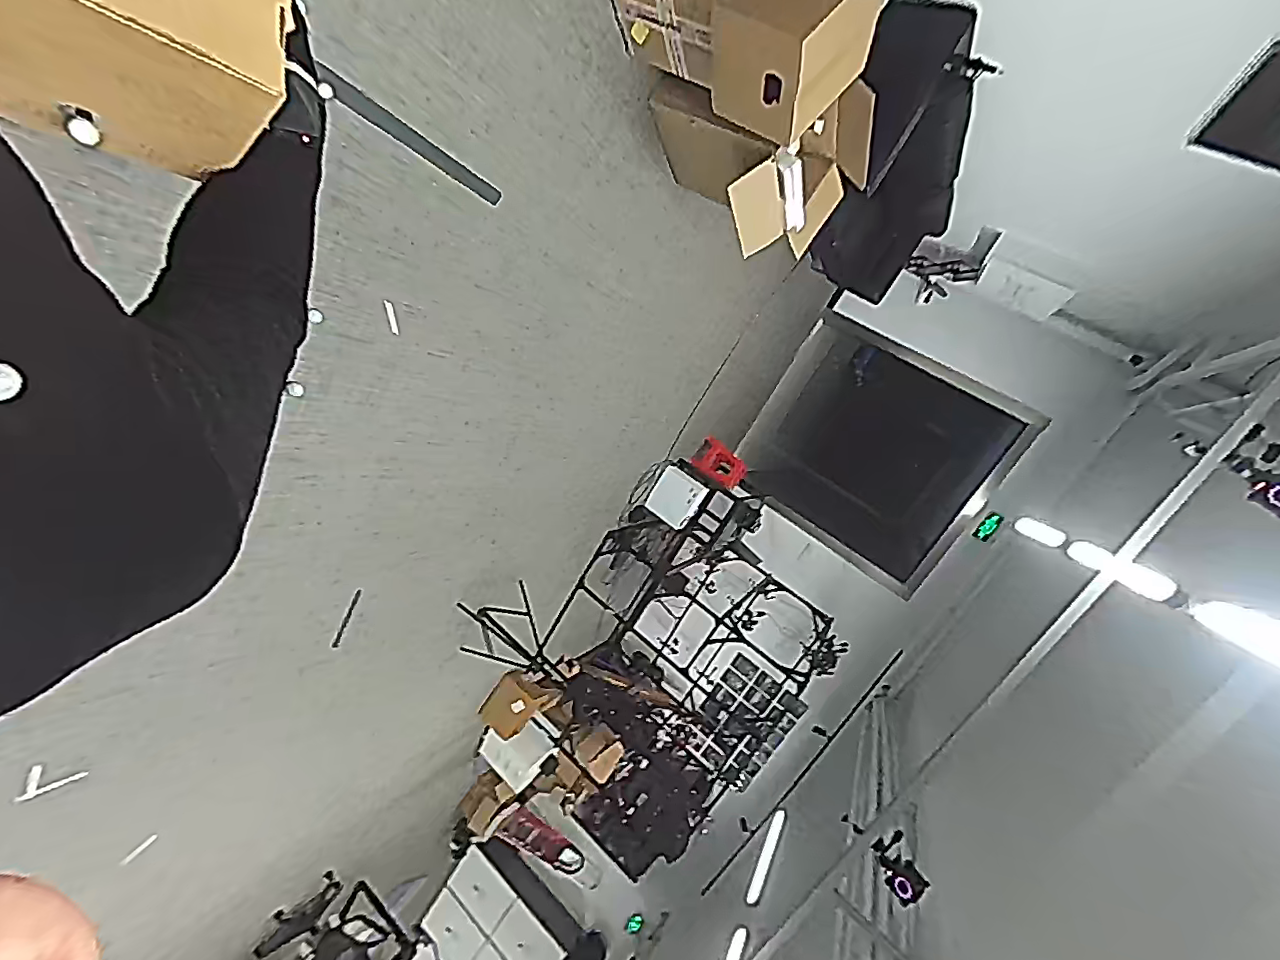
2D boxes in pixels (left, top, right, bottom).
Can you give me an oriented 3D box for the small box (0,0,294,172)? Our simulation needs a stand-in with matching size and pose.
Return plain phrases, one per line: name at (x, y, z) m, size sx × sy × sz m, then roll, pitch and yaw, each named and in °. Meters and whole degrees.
small box at (-0.359, -0.340, 0.360) m, size 0.179 × 0.176 × 0.168 m, roll 0°, pitch 89°, yaw -51°
